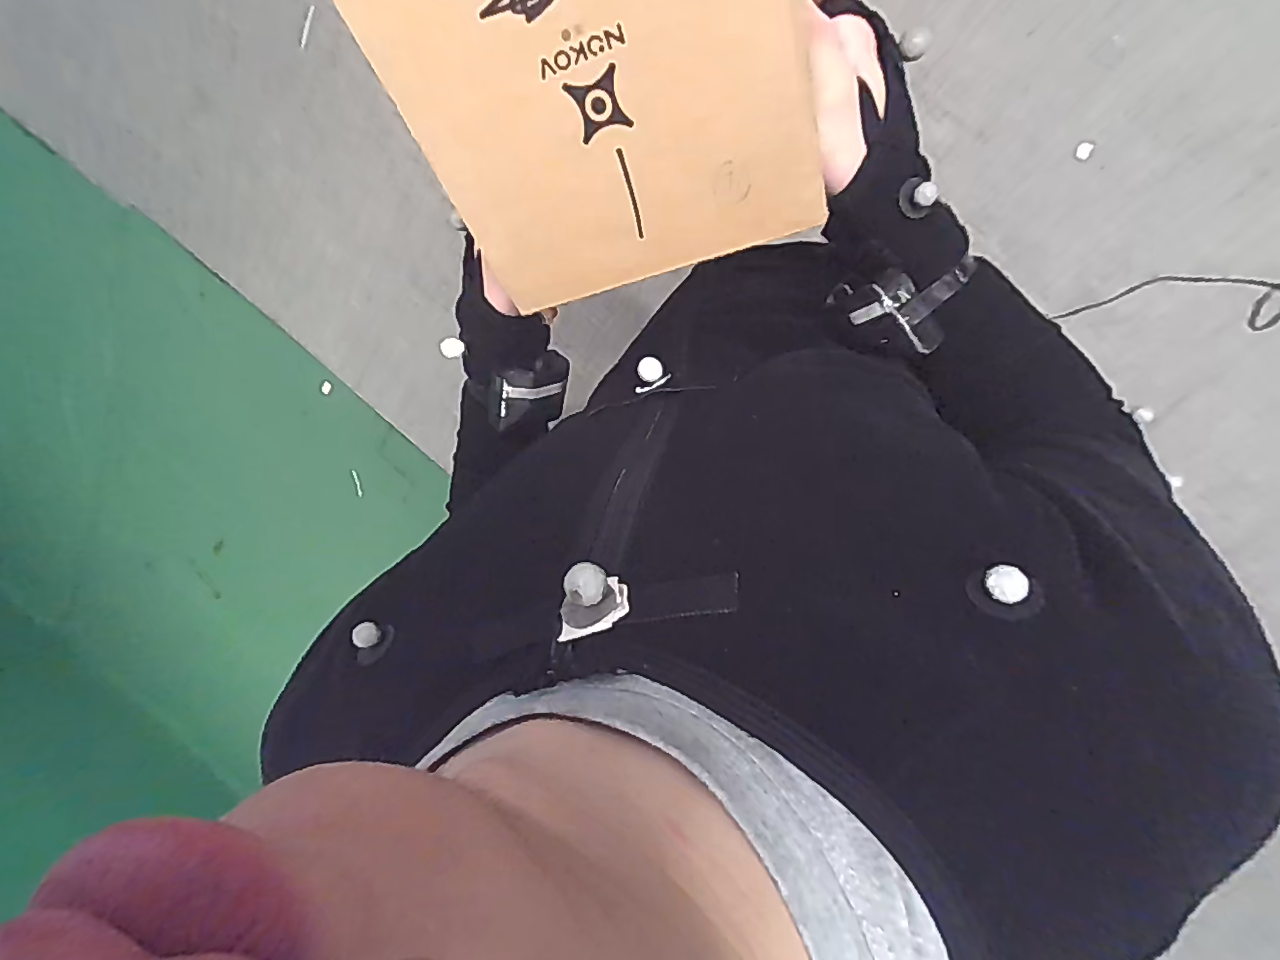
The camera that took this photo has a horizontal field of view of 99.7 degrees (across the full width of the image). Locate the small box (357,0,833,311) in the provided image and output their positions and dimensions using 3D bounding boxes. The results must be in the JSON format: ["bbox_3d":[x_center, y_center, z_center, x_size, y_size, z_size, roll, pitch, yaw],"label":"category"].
[{"bbox_3d":[-0.008,-0.222,0.271,0.168,0.176,0.179,-10,138,17],"label":"small box"}]
